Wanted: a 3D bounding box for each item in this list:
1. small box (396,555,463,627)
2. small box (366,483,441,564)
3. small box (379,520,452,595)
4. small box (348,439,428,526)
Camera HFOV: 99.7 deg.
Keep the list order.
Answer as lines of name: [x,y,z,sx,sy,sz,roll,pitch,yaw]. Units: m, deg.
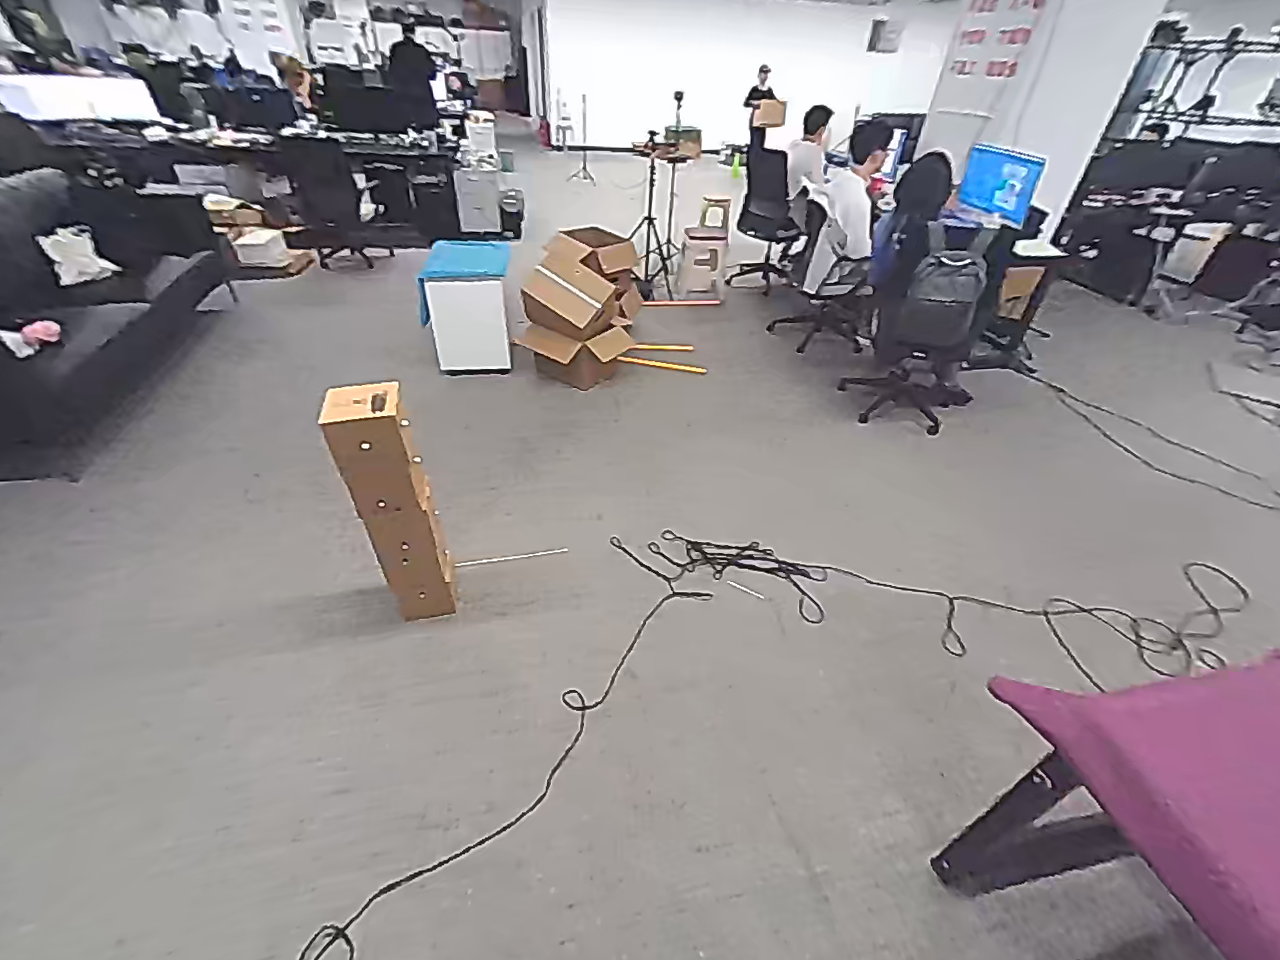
small box: [-0.715,0.382,1.851,0.179,0.176,0.168,-6,38,-12]
small box: [-0.707,0.132,1.639,0.179,0.176,0.168,-7,39,-13]
small box: [-0.720,0.253,1.749,0.179,0.176,0.168,-7,40,-11]
small box: [-0.706,0.007,1.536,0.168,0.176,0.179,-8,40,-12]
